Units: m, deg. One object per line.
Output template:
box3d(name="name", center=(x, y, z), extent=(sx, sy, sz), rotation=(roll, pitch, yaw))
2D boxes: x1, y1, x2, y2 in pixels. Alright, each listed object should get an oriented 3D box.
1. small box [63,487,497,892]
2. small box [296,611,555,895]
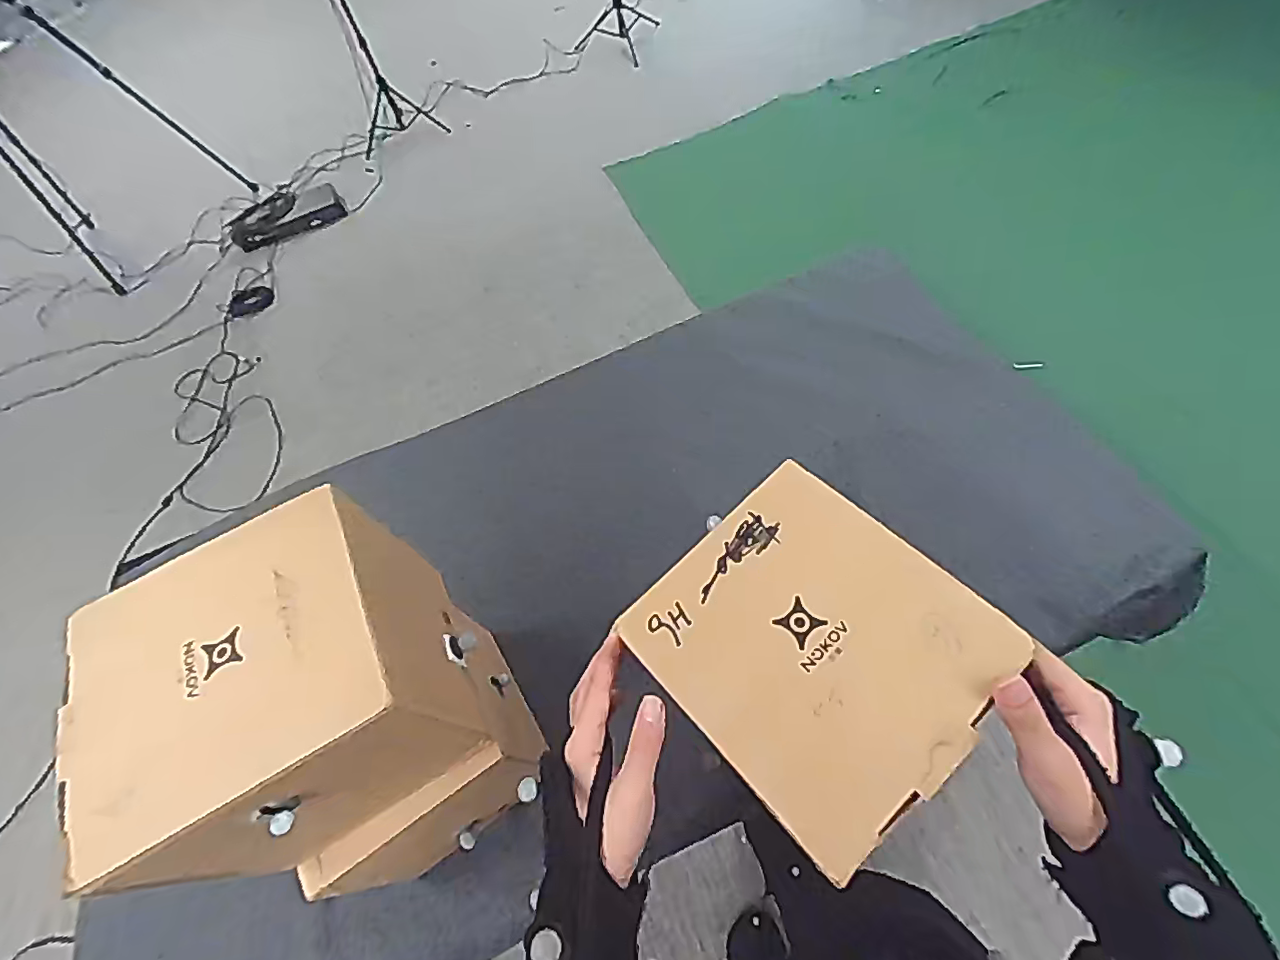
box3d(name="small box", center=(-0.230, 0.143, 0.380), extent=(0.179, 0.176, 0.168), rotation=(-29, 60, -10))
box3d(name="small box", center=(-0.205, 0.240, 0.509), extent=(0.168, 0.176, 0.179), rotation=(-33, 60, -11))
